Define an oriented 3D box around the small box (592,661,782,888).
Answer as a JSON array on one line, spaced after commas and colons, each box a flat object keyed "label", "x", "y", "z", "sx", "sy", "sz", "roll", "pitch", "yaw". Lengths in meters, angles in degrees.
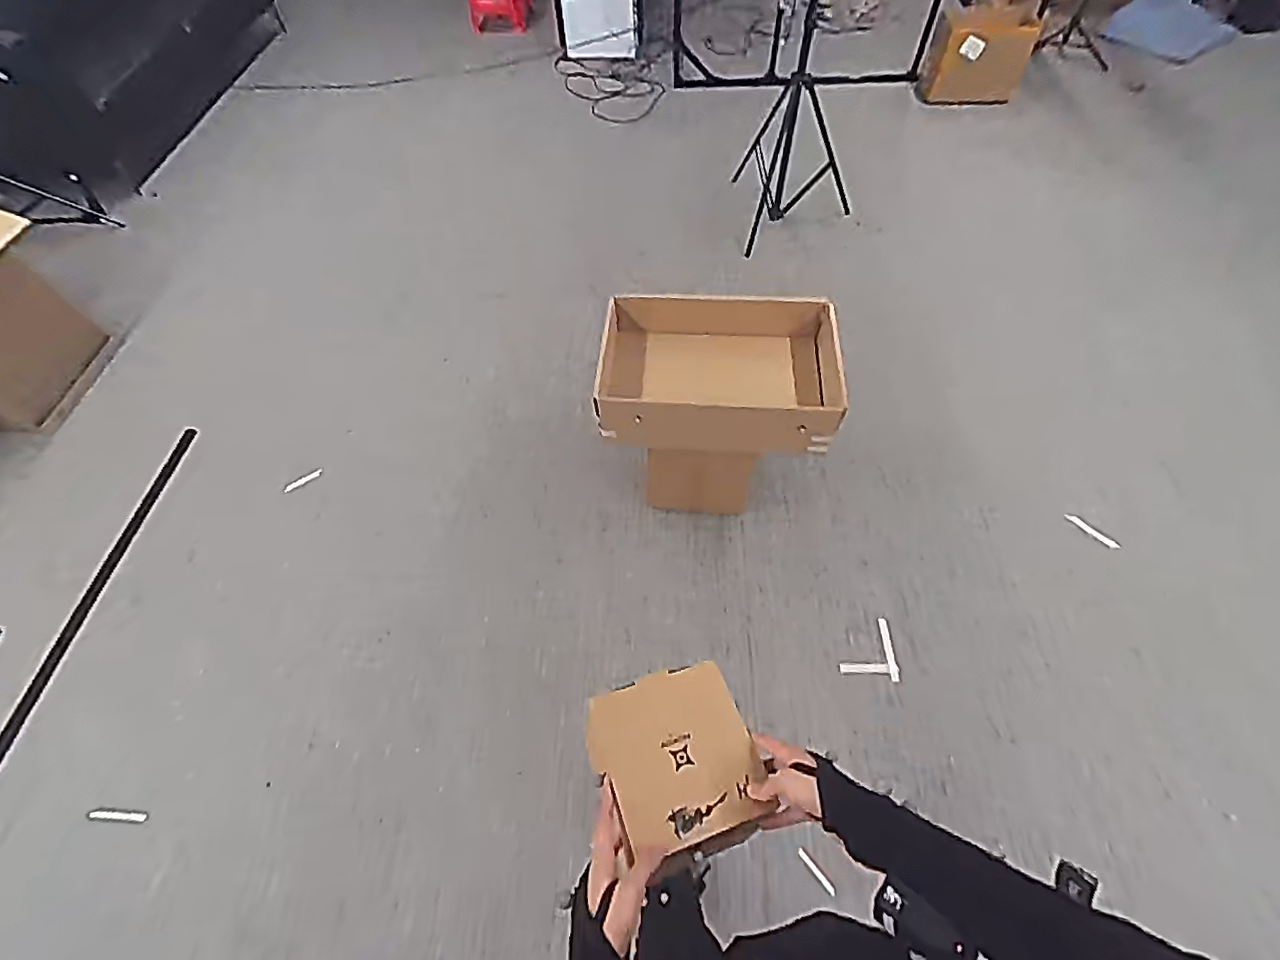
[{"label": "small box", "x": 0.040, "y": 0.356, "z": 0.658, "sx": 0.168, "sy": 0.176, "sz": 0.179, "roll": -12, "pitch": 49, "yaw": -16}]
